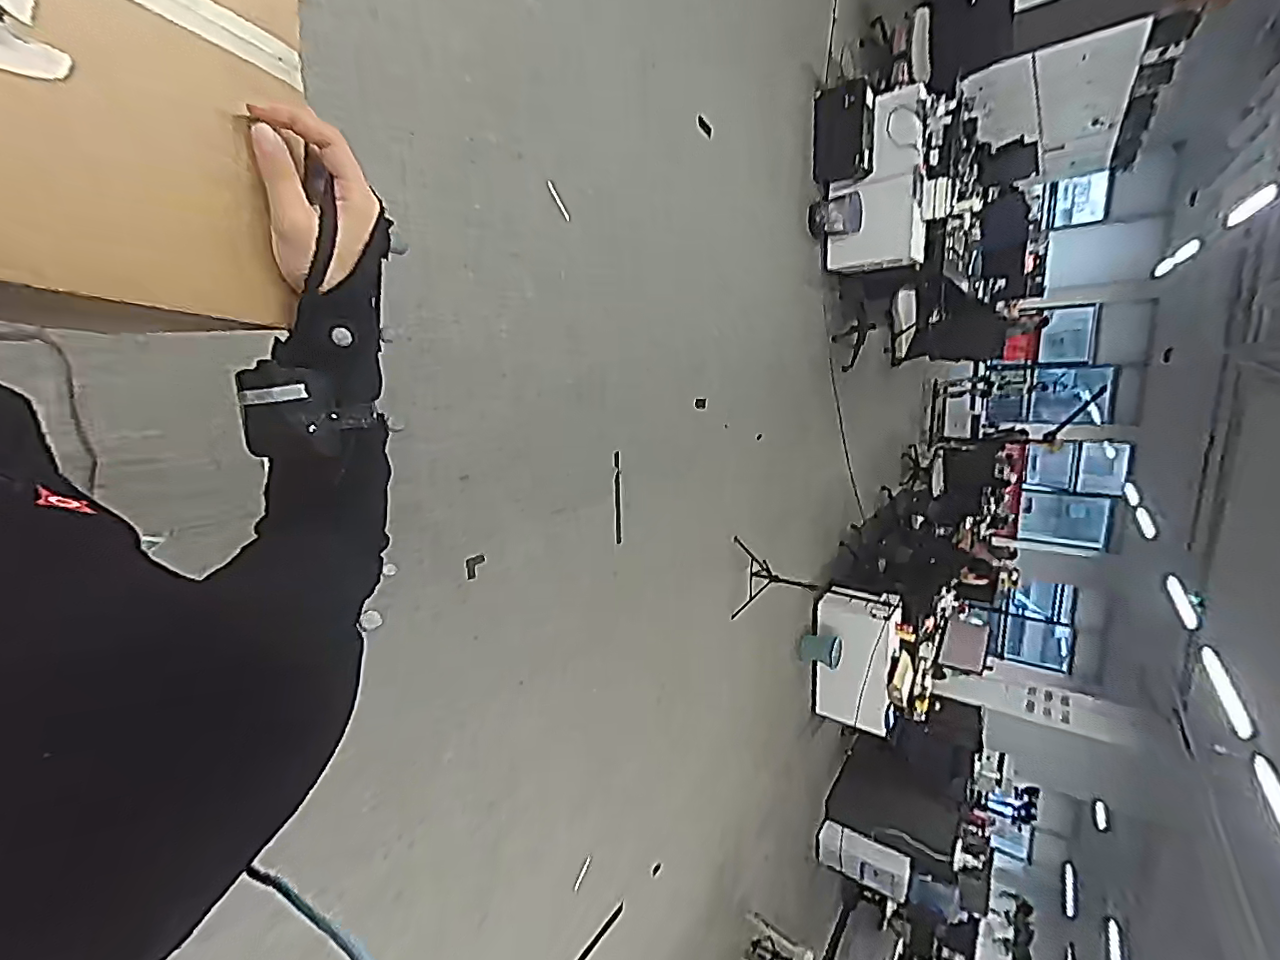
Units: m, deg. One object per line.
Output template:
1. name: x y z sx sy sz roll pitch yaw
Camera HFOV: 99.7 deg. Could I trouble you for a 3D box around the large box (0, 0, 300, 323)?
1. large box: -0.450 -0.264 0.248 0.408 0.320 0.320 -8 105 -61
